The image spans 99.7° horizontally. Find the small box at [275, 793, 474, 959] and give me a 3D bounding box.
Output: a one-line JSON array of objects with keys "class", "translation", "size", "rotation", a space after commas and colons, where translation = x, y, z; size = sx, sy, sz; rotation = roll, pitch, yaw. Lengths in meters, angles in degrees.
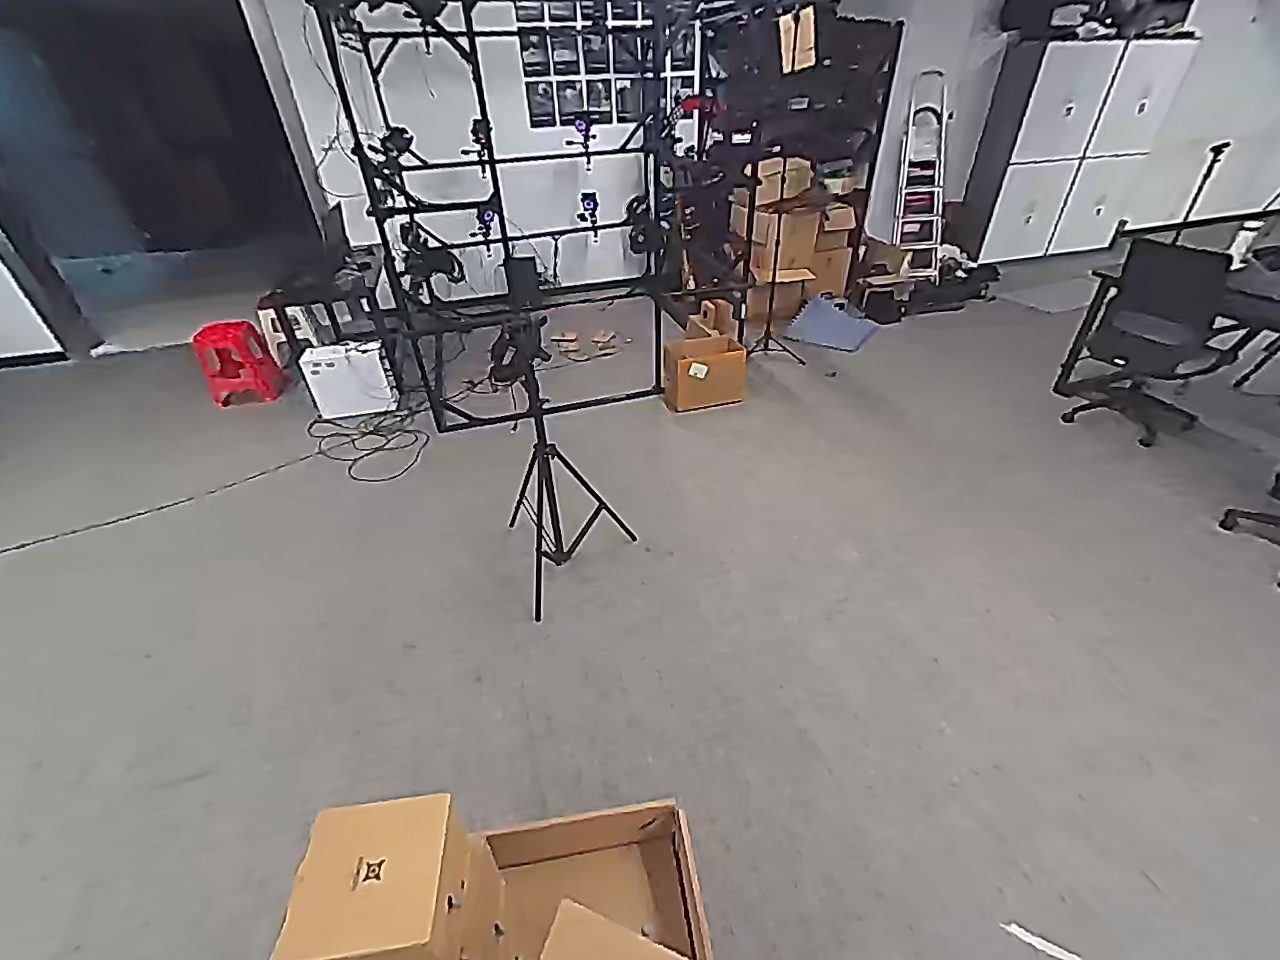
[{"class": "small box", "translation": [-0.325, 0.544, 0.708], "size": [0.179, 0.176, 0.168], "rotation": [-5, 35, -6]}]

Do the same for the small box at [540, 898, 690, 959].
[{"class": "small box", "translation": [-0.037, 0.583, 0.582], "size": [0.179, 0.176, 0.168], "rotation": [21, 51, 9]}]

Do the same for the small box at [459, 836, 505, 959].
[{"class": "small box", "translation": [-0.298, 0.675, 0.804], "size": [0.168, 0.176, 0.179], "rotation": [-7, 35, -8]}]
